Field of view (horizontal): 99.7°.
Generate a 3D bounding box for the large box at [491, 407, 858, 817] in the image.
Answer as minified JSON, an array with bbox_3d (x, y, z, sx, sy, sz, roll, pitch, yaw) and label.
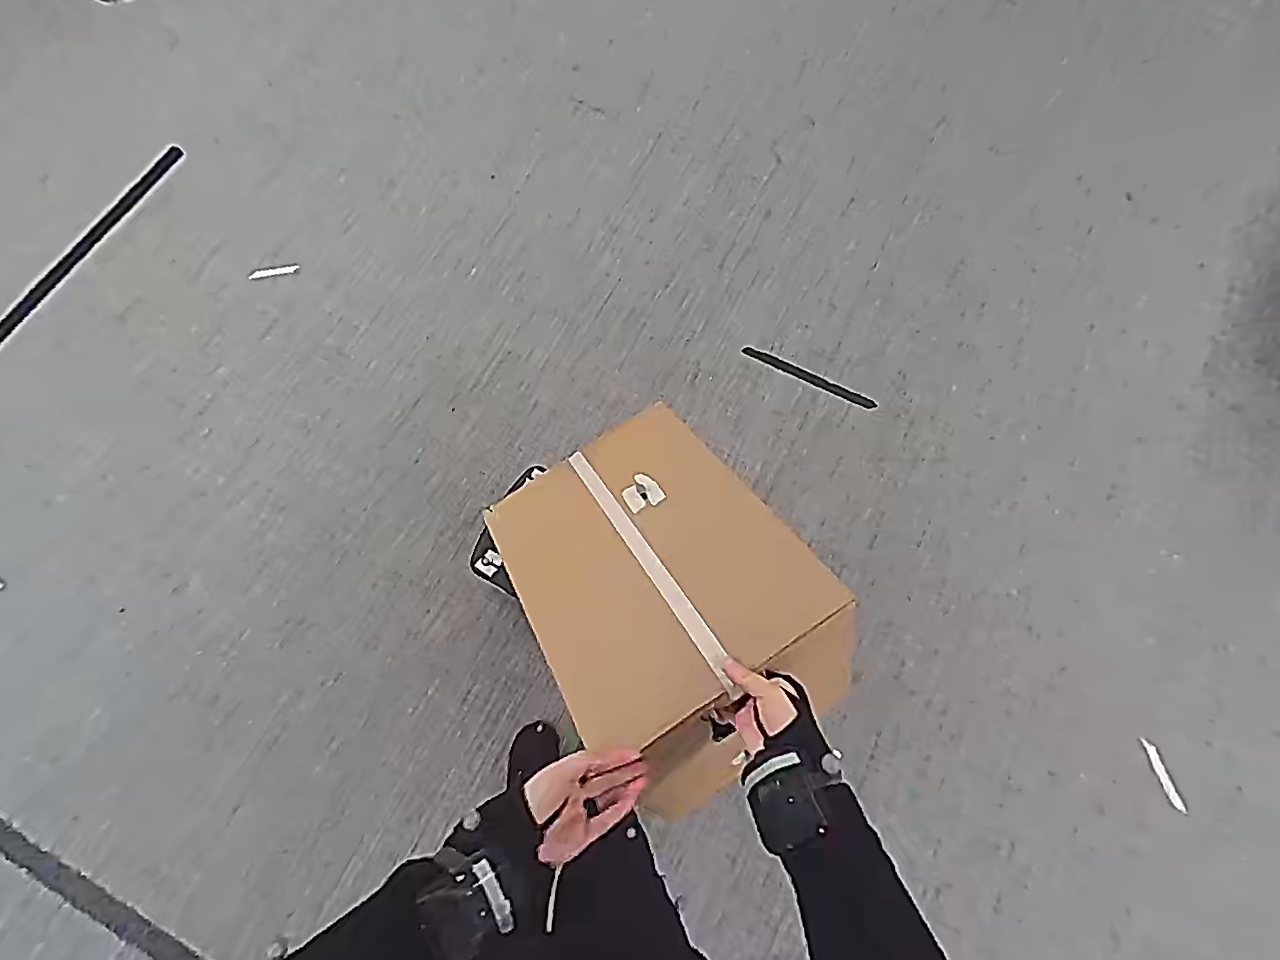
[{"bbox_3d":[0.050,0.176,0.770,0.320,0.320,0.408,-32,48,-7],"label":"large box"}]
